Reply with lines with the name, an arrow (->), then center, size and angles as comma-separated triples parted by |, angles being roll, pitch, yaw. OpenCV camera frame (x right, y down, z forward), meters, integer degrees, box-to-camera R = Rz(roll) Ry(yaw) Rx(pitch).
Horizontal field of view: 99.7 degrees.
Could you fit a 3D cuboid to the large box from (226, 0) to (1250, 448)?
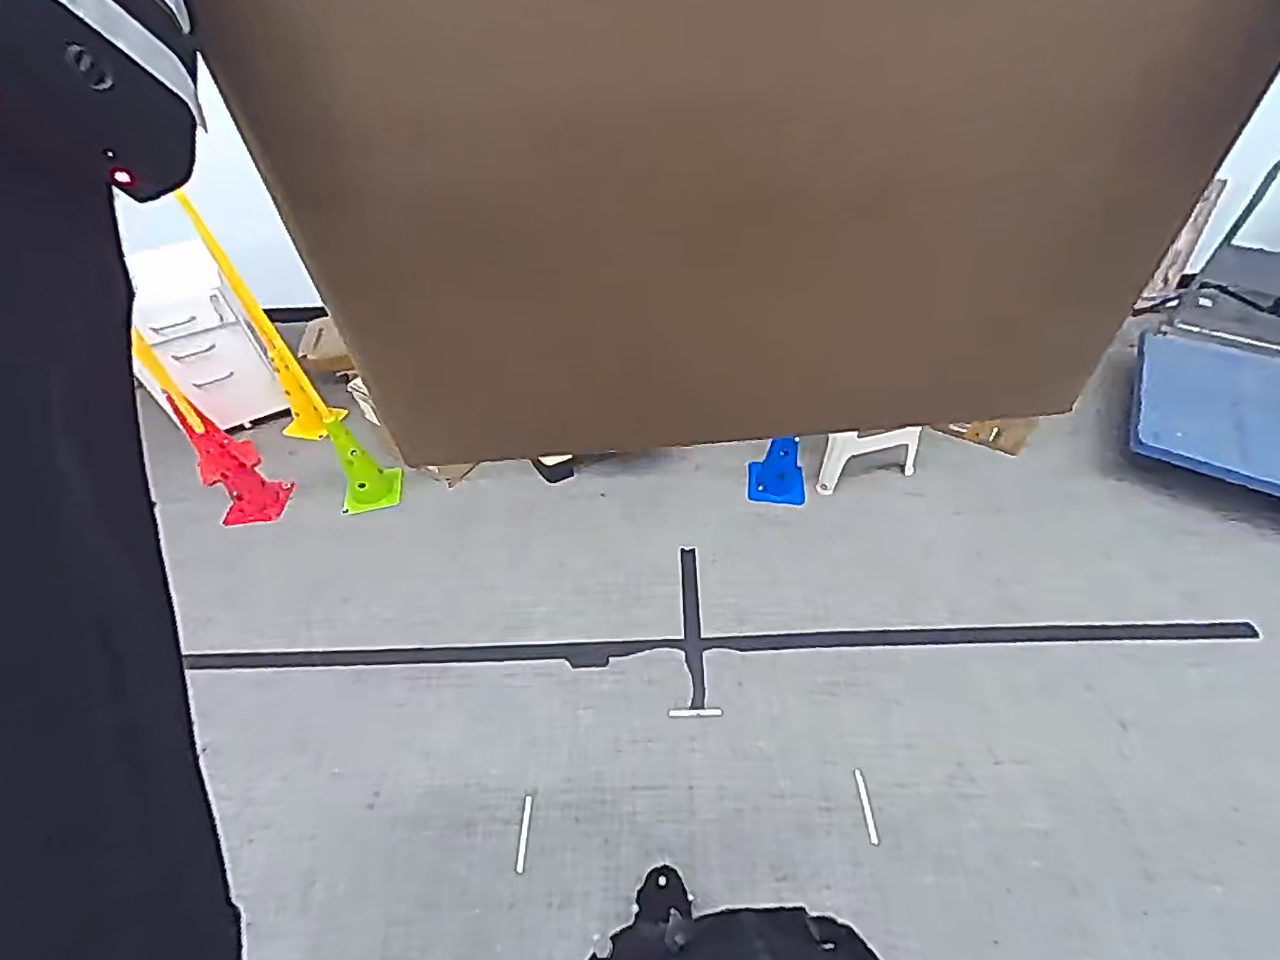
large box -> 0.037, -0.244, 0.344 | 0.408, 0.320, 0.320 | -5, 45, -2
